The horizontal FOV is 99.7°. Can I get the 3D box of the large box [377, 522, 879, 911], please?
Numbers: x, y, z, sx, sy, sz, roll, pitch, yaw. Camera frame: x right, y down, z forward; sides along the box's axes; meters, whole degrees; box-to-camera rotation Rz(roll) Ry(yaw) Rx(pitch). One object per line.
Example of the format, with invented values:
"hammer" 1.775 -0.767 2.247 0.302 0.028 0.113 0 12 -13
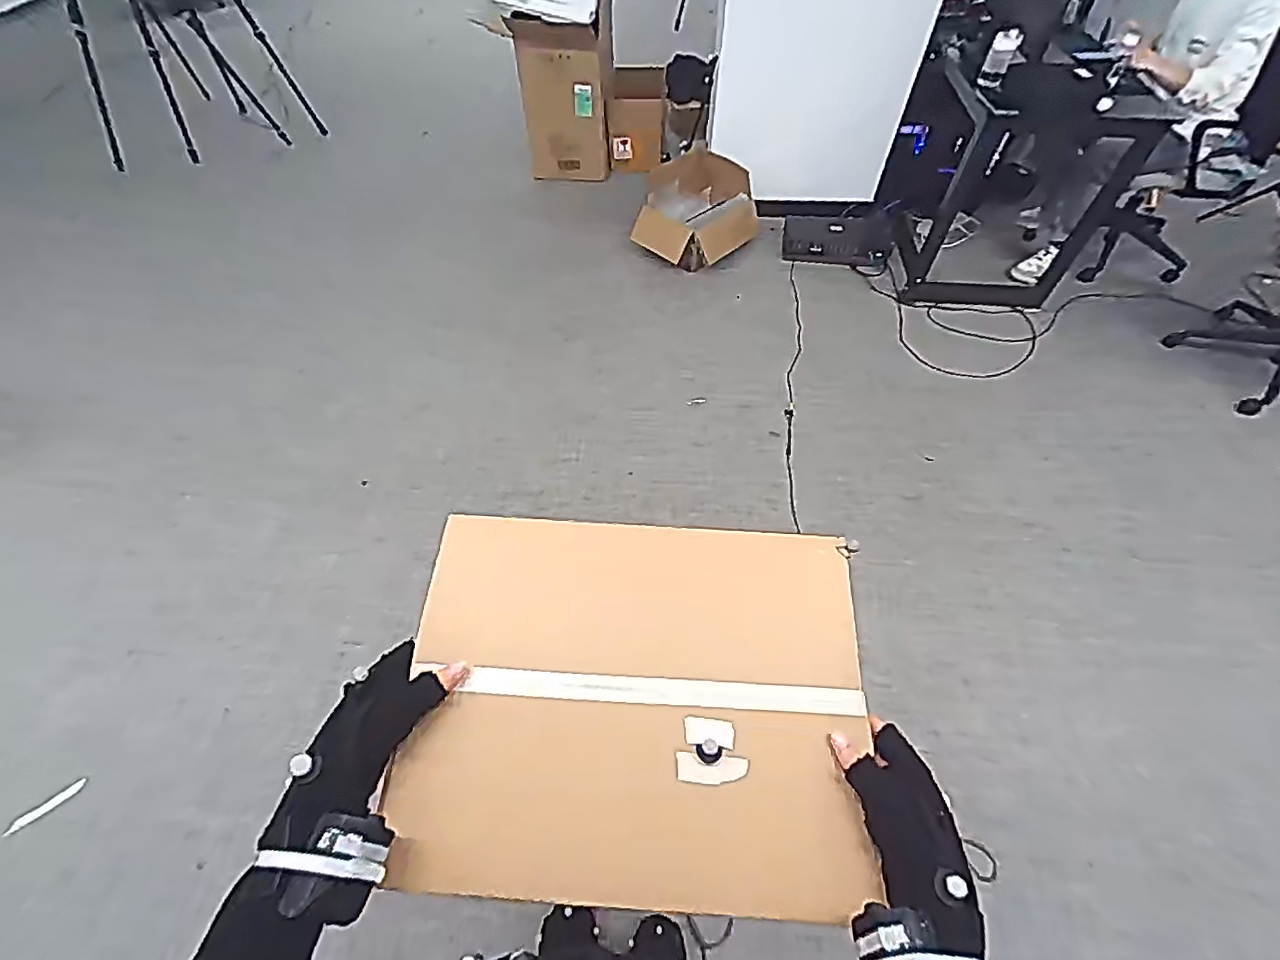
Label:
"large box" -0.006 0.258 0.621 0.408 0.320 0.320 4 63 1
